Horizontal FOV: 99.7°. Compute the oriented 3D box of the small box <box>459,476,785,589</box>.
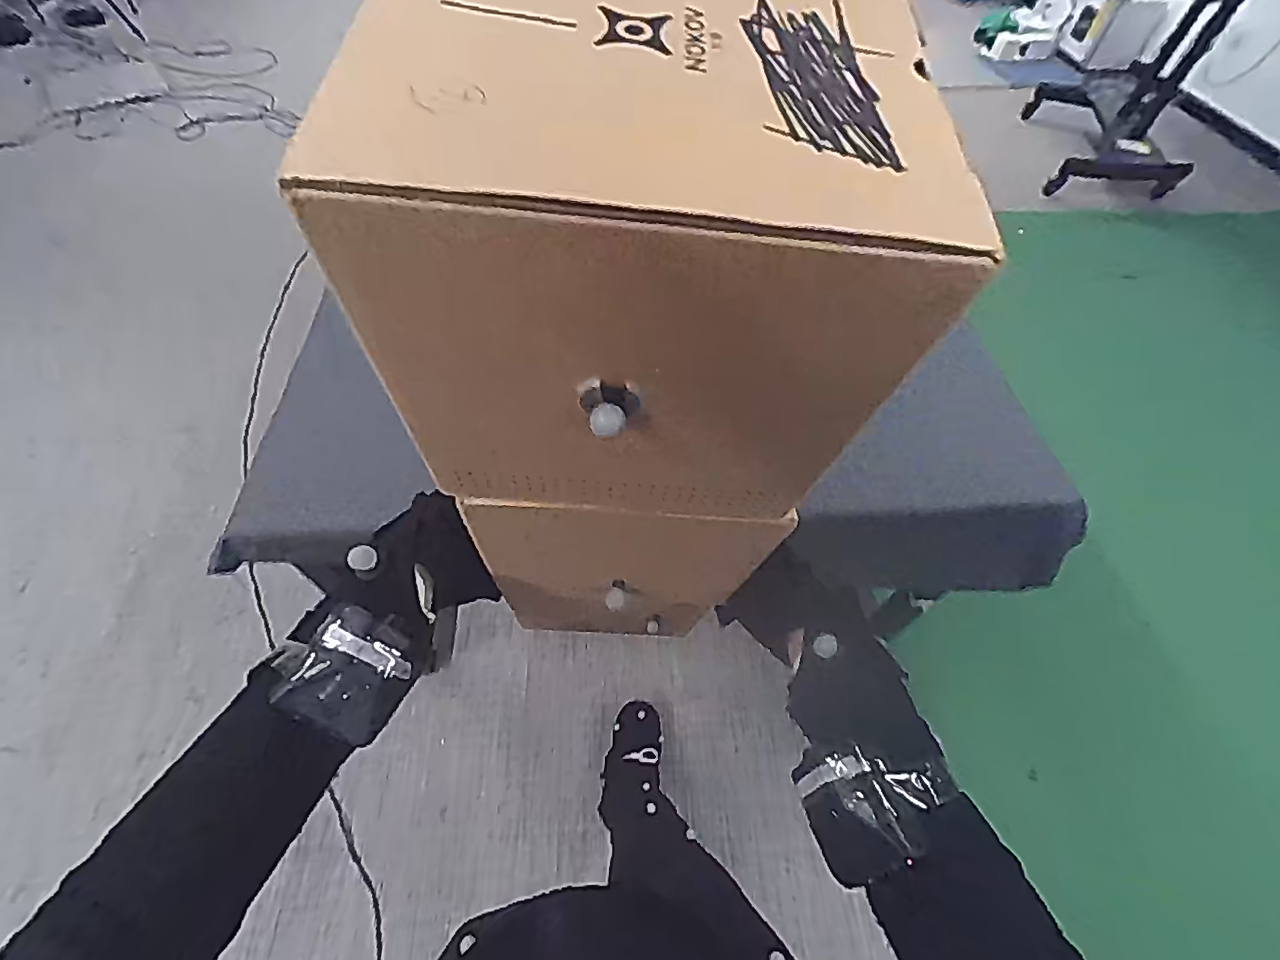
[{"bbox_3d":[-0.013,-0.024,0.390,0.179,0.176,0.168,4,63,-5],"label":"small box"}]

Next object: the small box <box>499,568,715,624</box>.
[{"bbox_3d":[-0.030,0.043,0.538,0.179,0.176,0.168,2,63,-3],"label":"small box"}]

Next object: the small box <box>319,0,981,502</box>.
[{"bbox_3d":[-0.002,-0.097,0.243,0.179,0.176,0.168,2,64,-7],"label":"small box"}]
